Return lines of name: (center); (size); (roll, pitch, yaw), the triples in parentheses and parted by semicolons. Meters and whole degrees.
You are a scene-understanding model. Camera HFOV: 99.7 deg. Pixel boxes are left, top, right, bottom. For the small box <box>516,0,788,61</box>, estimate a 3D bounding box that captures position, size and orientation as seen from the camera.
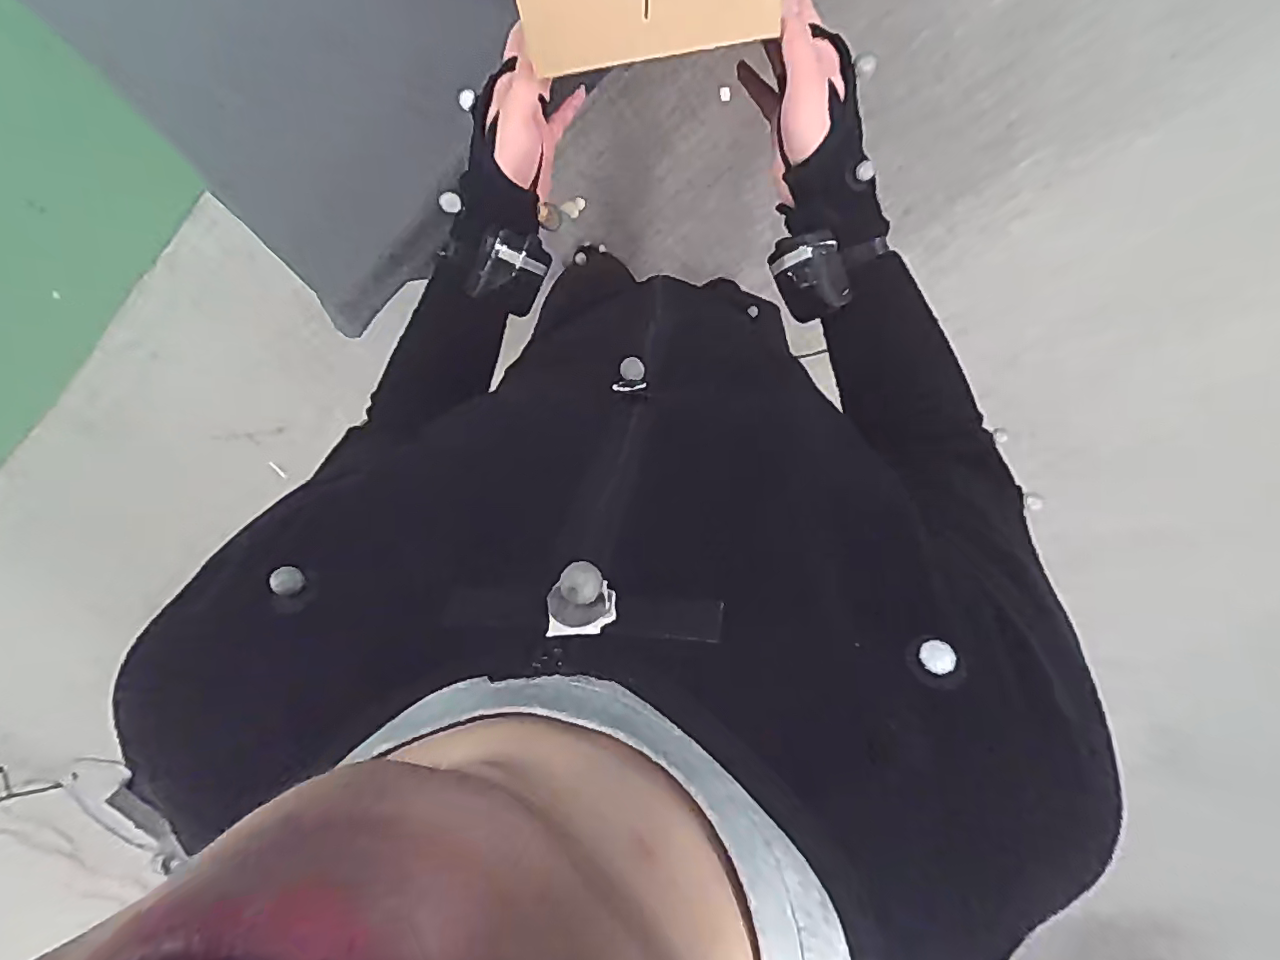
small box: (0.000, -0.390, 0.332); (0.168, 0.176, 0.179); (-4, 137, 7)
